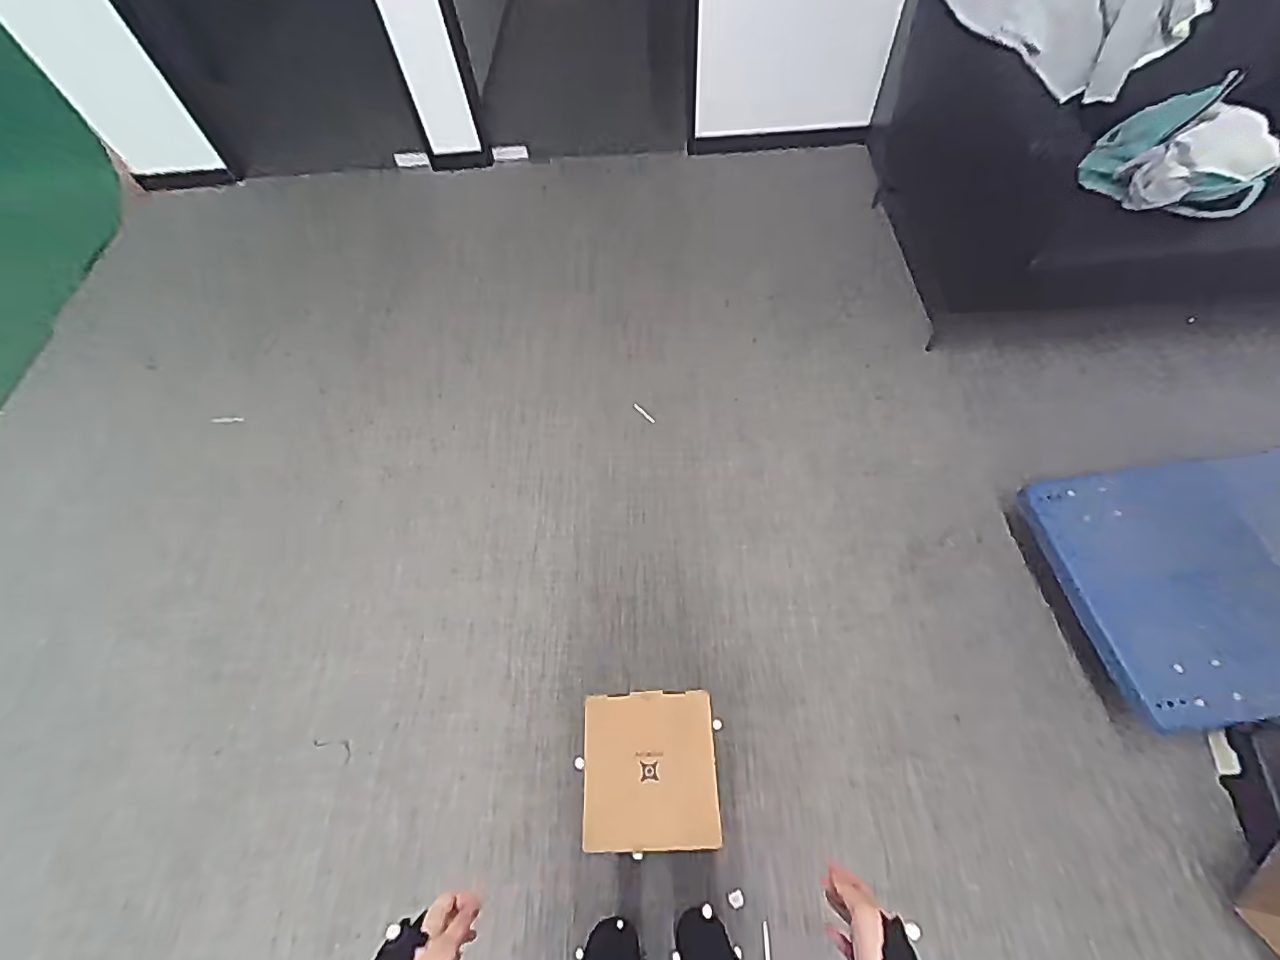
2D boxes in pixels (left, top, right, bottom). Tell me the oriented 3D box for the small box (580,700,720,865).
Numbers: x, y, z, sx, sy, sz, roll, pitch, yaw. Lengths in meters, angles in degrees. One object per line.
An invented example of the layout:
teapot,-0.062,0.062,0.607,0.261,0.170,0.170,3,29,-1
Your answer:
small box,0.016,0.404,0.732,0.168,0.176,0.179,-3,59,2
